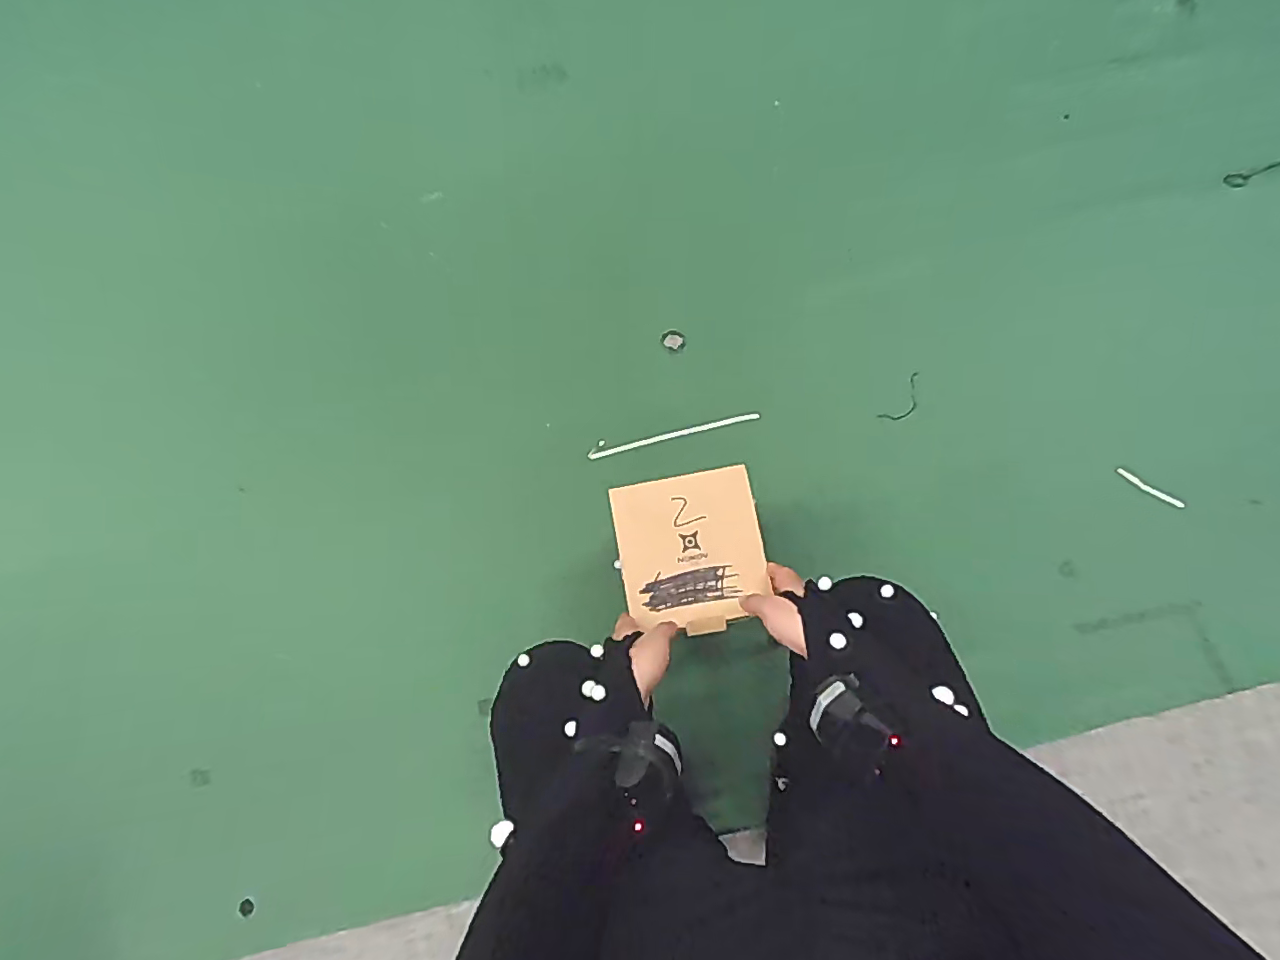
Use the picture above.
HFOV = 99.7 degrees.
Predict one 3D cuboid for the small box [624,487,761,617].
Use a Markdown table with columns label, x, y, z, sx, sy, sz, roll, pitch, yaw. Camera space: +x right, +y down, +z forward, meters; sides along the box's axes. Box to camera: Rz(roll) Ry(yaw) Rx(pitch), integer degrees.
| label | x | y | z | sx | sy | sz | roll | pitch | yaw |
| --- | --- | --- | --- | --- | --- | --- | --- | --- | --- |
| small box | 0.075 | 0.114 | 0.856 | 0.179 | 0.176 | 0.168 | -11 | 80 | 1 |
